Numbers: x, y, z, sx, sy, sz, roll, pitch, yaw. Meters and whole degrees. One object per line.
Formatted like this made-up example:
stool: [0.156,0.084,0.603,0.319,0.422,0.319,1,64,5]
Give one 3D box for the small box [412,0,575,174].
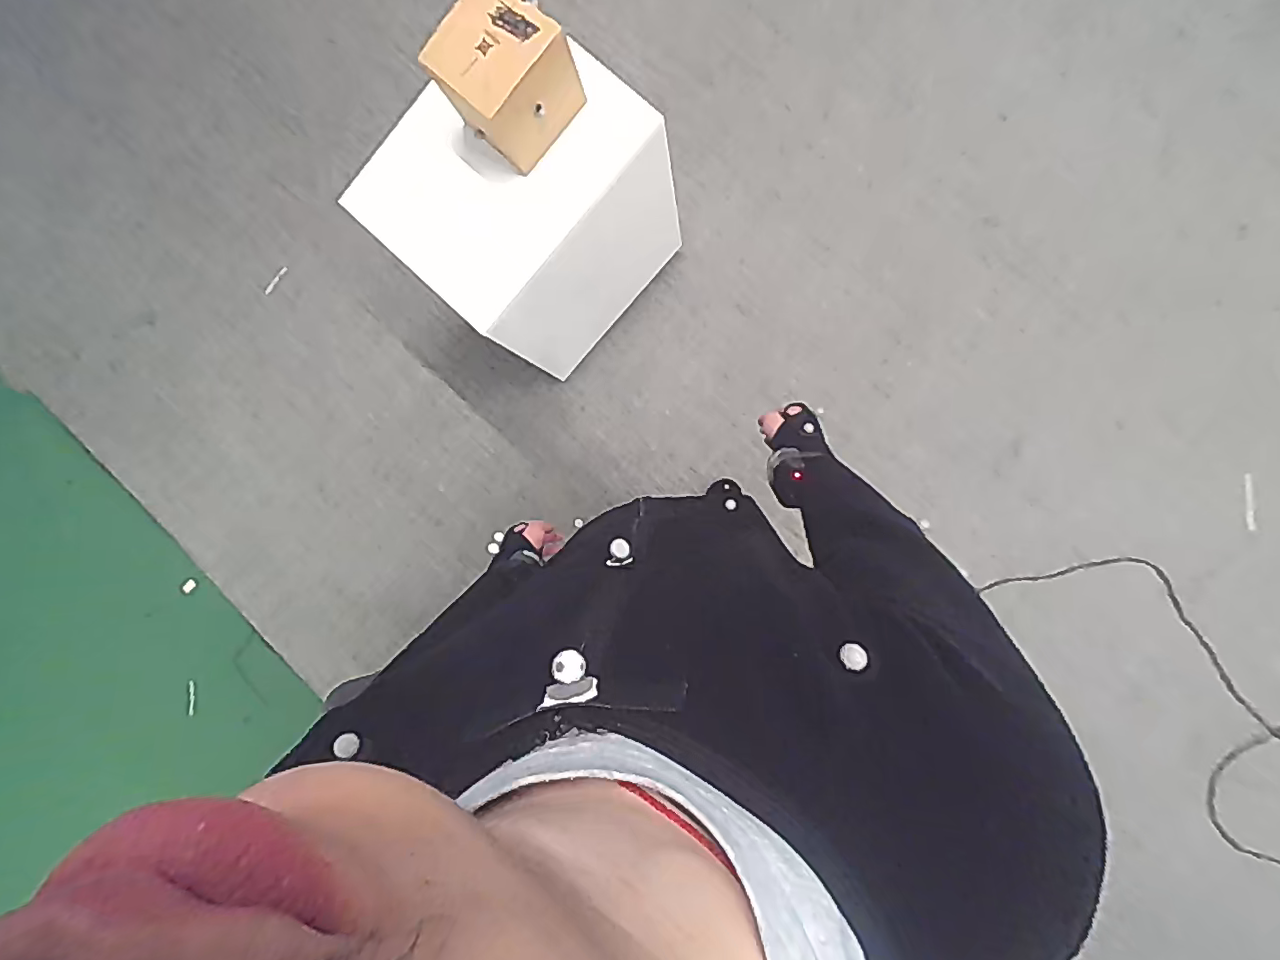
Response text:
small box: [-0.226,-0.661,0.893,0.168,0.176,0.179,43,96,4]
